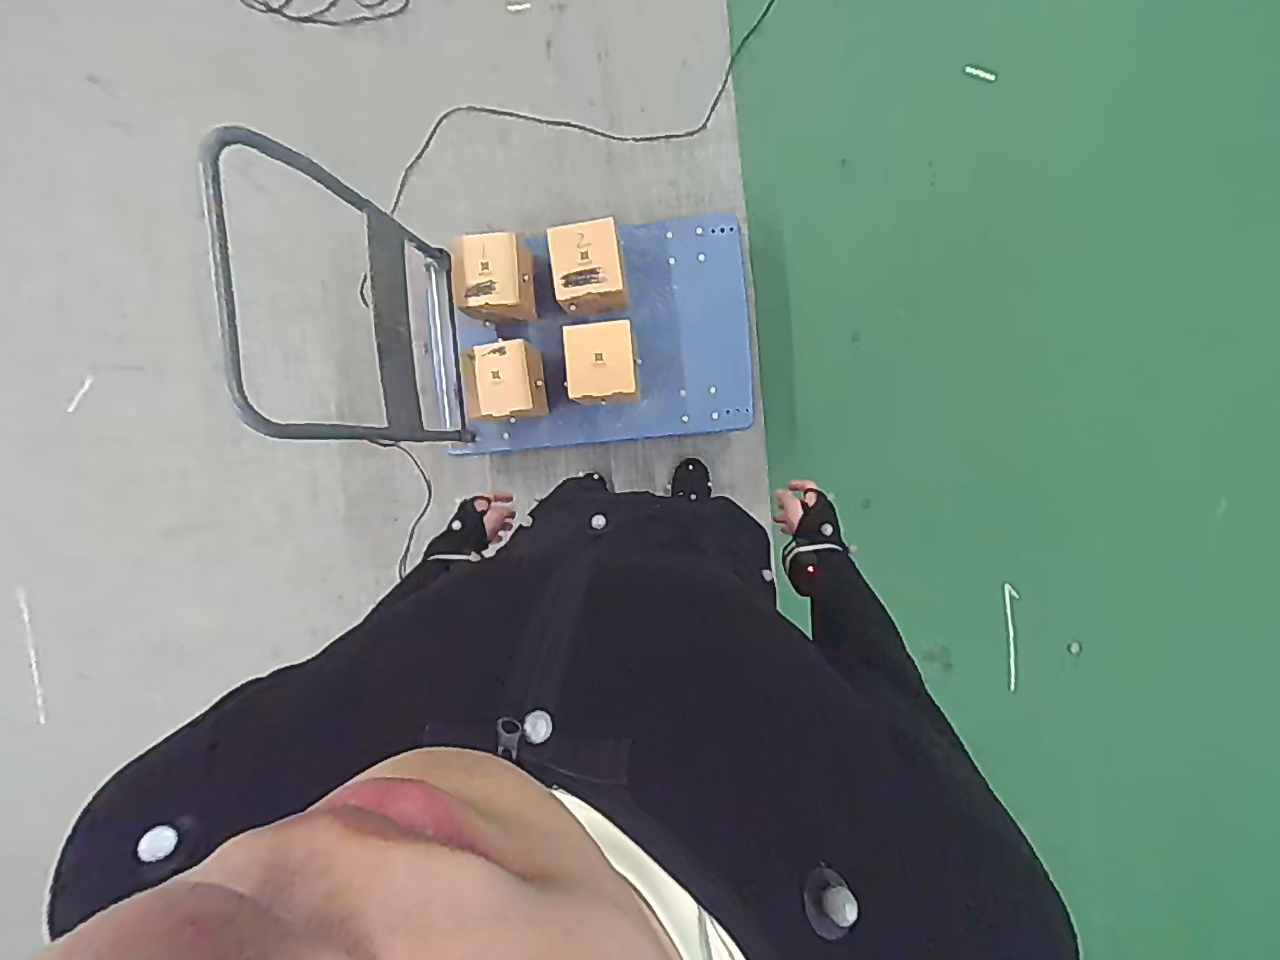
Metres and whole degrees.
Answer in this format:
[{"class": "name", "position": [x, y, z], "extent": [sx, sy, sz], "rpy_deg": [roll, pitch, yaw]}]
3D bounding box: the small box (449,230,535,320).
[{"class": "small box", "position": [-0.373, -0.515, 1.387], "extent": [0.168, 0.176, 0.179], "rpy_deg": [-2, 92, 4]}]

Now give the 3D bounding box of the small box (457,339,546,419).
[{"class": "small box", "position": [-0.350, -0.253, 1.397], "extent": [0.168, 0.176, 0.179], "rpy_deg": [-7, 93, 5]}]
